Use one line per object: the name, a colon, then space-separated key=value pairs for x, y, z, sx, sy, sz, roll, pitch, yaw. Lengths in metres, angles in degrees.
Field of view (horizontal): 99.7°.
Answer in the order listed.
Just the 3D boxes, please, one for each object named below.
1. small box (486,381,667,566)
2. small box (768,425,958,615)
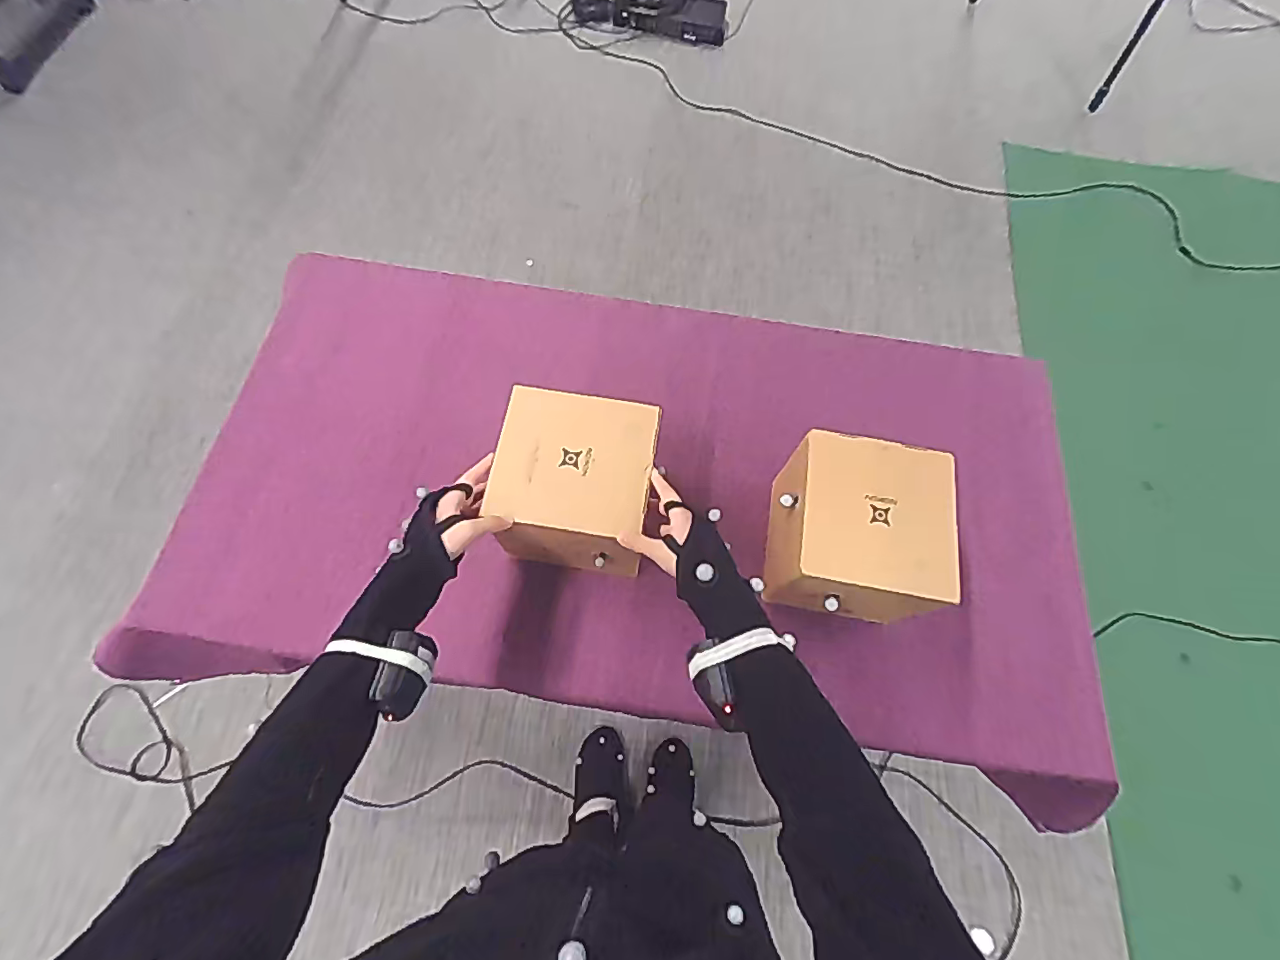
small box: x=-0.069 y=0.002 z=0.673 sx=0.179 sy=0.176 sz=0.168 roll=9 pitch=67 yaw=2
small box: x=0.261 y=0.059 z=0.664 sx=0.168 sy=0.176 sz=0.179 roll=10 pitch=67 yaw=2
